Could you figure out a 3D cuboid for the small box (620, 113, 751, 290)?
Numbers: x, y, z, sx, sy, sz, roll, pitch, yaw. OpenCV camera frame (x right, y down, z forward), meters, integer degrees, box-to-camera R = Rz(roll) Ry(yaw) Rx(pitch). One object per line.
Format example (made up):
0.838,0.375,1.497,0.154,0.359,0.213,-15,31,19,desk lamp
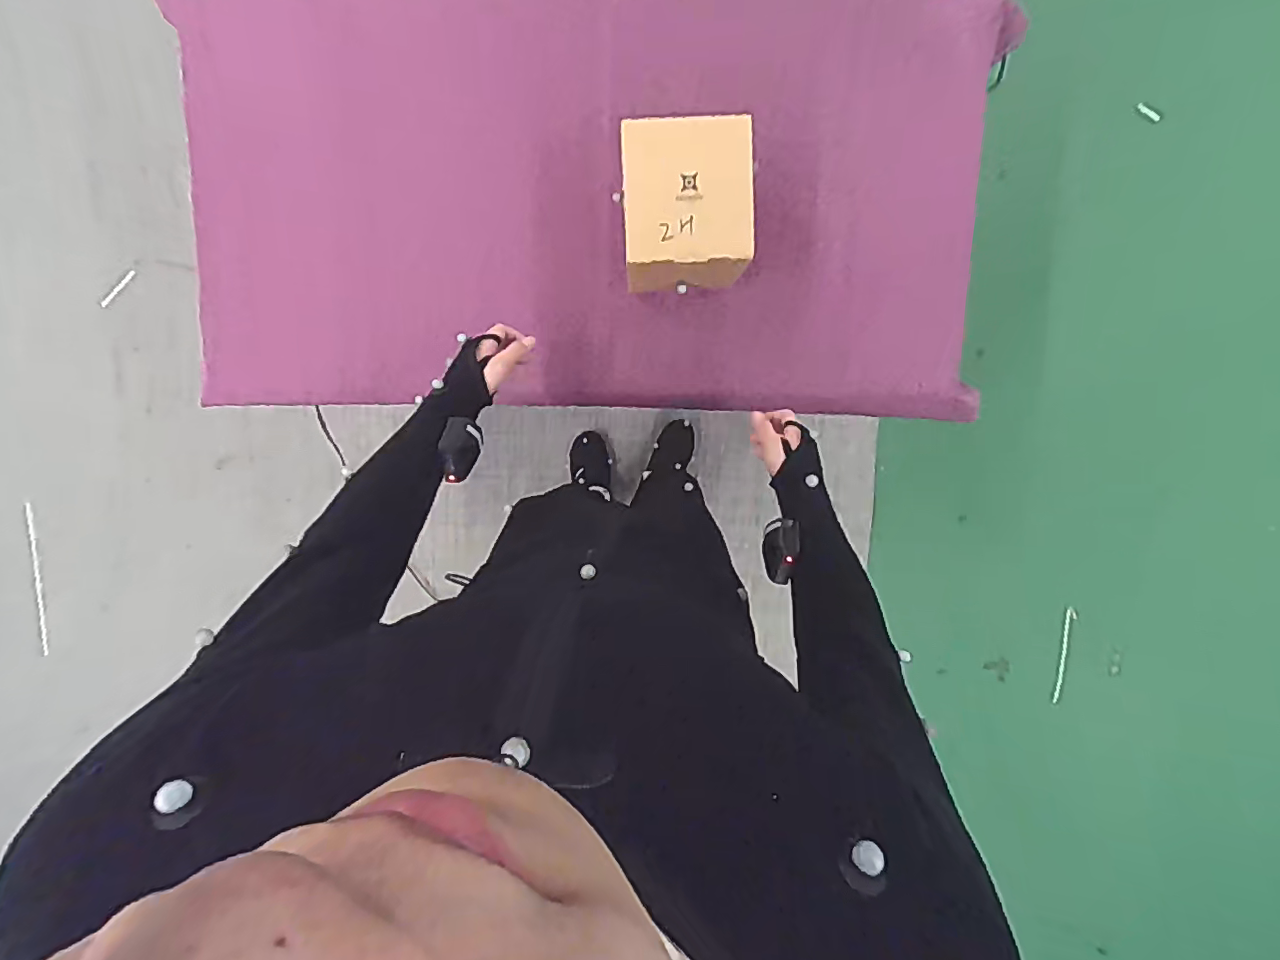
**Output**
0.056,-0.377,0.759,0.168,0.176,0.179,-2,97,-1,small box
